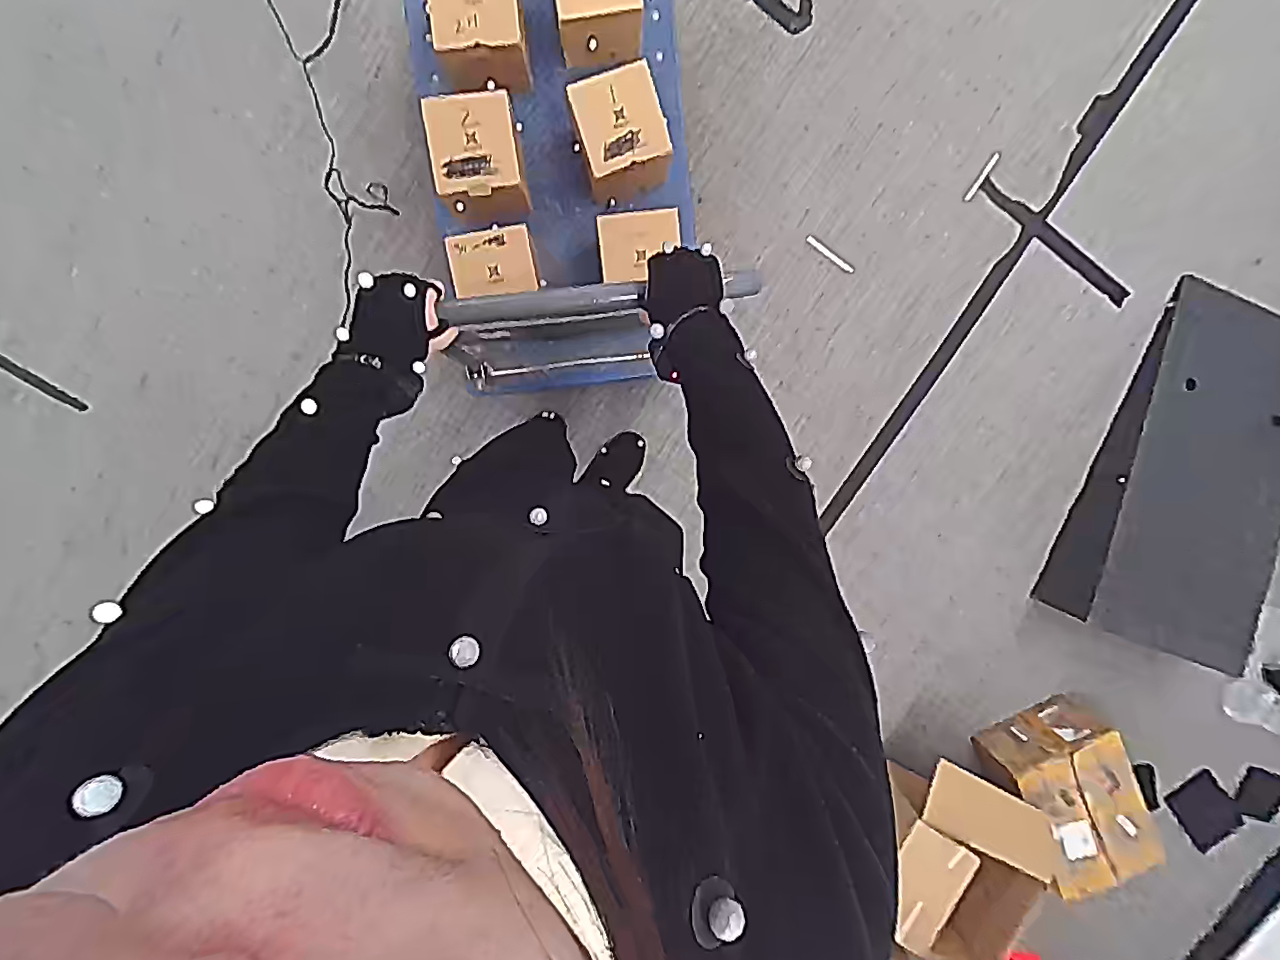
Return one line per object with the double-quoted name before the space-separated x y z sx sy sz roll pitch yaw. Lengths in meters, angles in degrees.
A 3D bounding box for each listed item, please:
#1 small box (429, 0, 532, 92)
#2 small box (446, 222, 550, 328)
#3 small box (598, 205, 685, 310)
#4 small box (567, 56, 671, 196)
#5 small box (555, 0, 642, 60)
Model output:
"small box" -0.316 -0.921 1.082 0.168 0.176 0.179 -5 100 -2
"small box" -0.294 -0.428 1.159 0.168 0.176 0.179 -11 100 -2
"small box" 0.002 -0.470 1.169 0.168 0.176 0.179 -6 99 -2
"small box" -0.042 -0.720 1.128 0.168 0.176 0.179 -19 98 0
"small box" -0.090 -0.985 1.085 0.168 0.176 0.179 -10 99 -1
